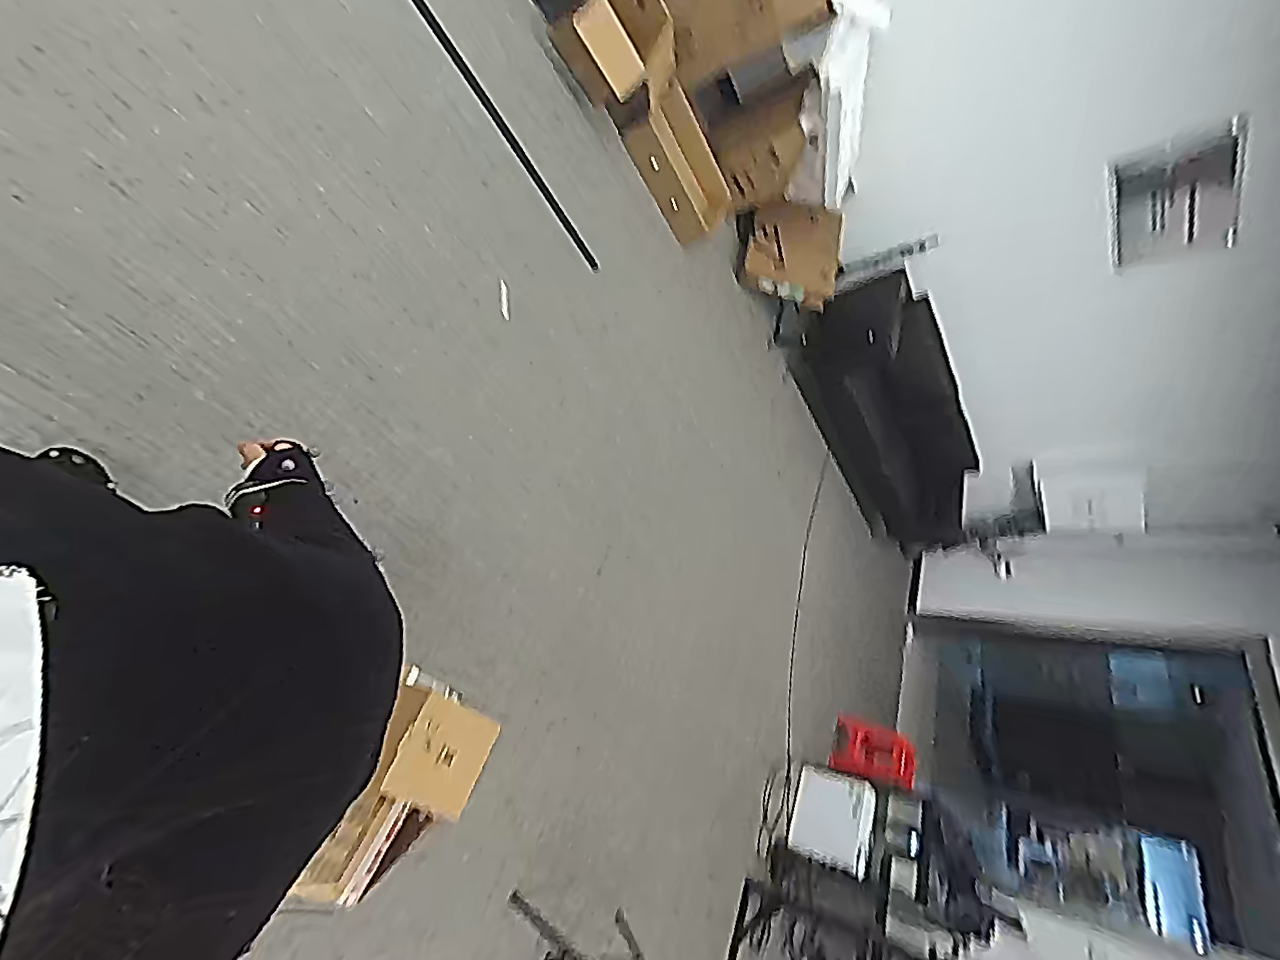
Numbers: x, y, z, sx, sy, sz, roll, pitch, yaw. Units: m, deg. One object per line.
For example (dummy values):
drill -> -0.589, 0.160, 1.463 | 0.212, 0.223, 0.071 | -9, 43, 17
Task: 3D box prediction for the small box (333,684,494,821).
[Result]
small box -> -0.413, 0.490, 0.990 | 0.179, 0.176, 0.168 | 49, 49, -33
